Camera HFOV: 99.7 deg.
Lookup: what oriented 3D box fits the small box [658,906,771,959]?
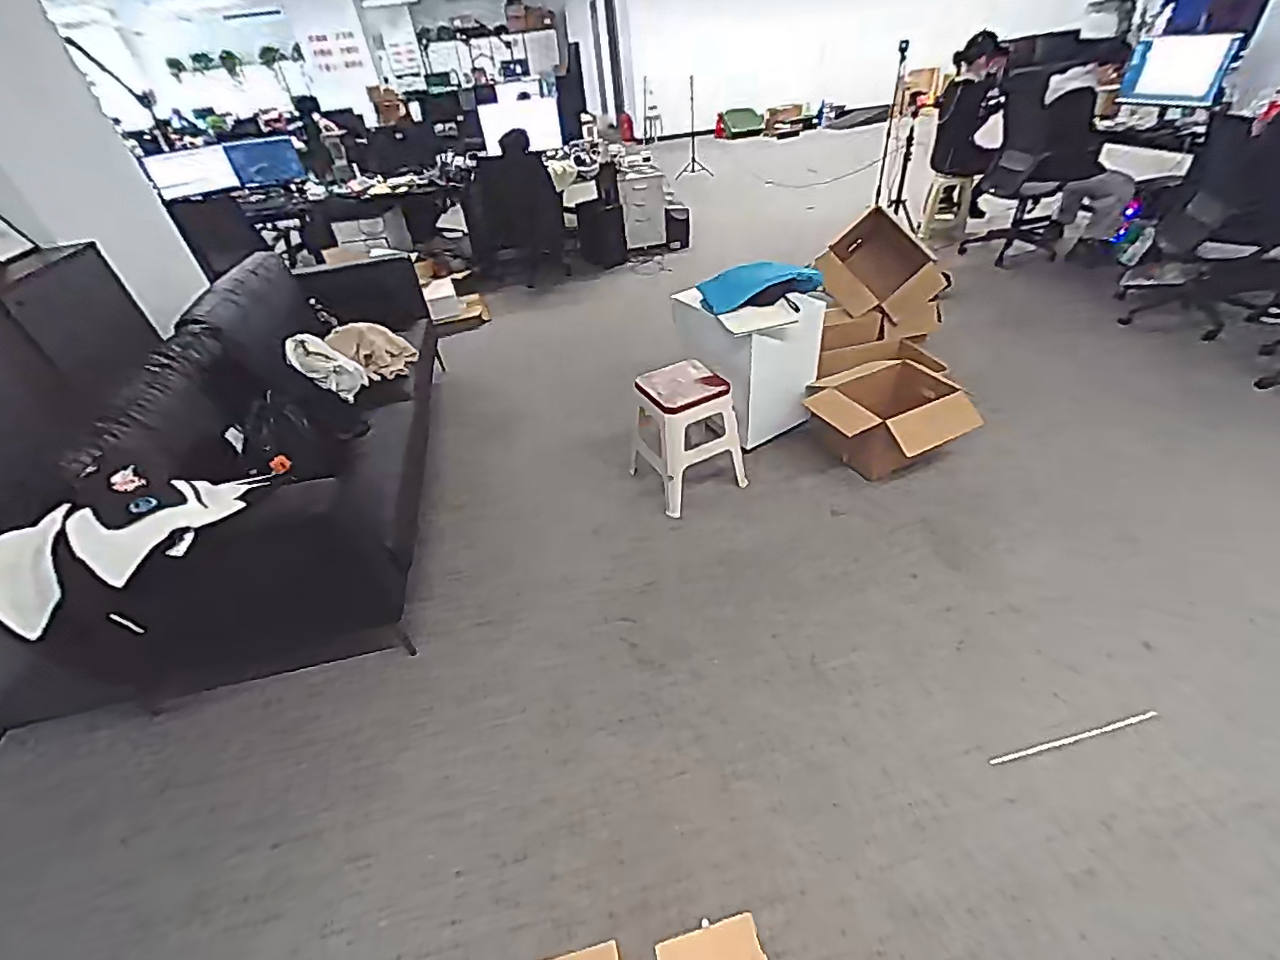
[{"bbox_3d":[0.140,0.865,0.911,0.179,0.176,0.168,-13,40,-8],"label":"small box"}]
